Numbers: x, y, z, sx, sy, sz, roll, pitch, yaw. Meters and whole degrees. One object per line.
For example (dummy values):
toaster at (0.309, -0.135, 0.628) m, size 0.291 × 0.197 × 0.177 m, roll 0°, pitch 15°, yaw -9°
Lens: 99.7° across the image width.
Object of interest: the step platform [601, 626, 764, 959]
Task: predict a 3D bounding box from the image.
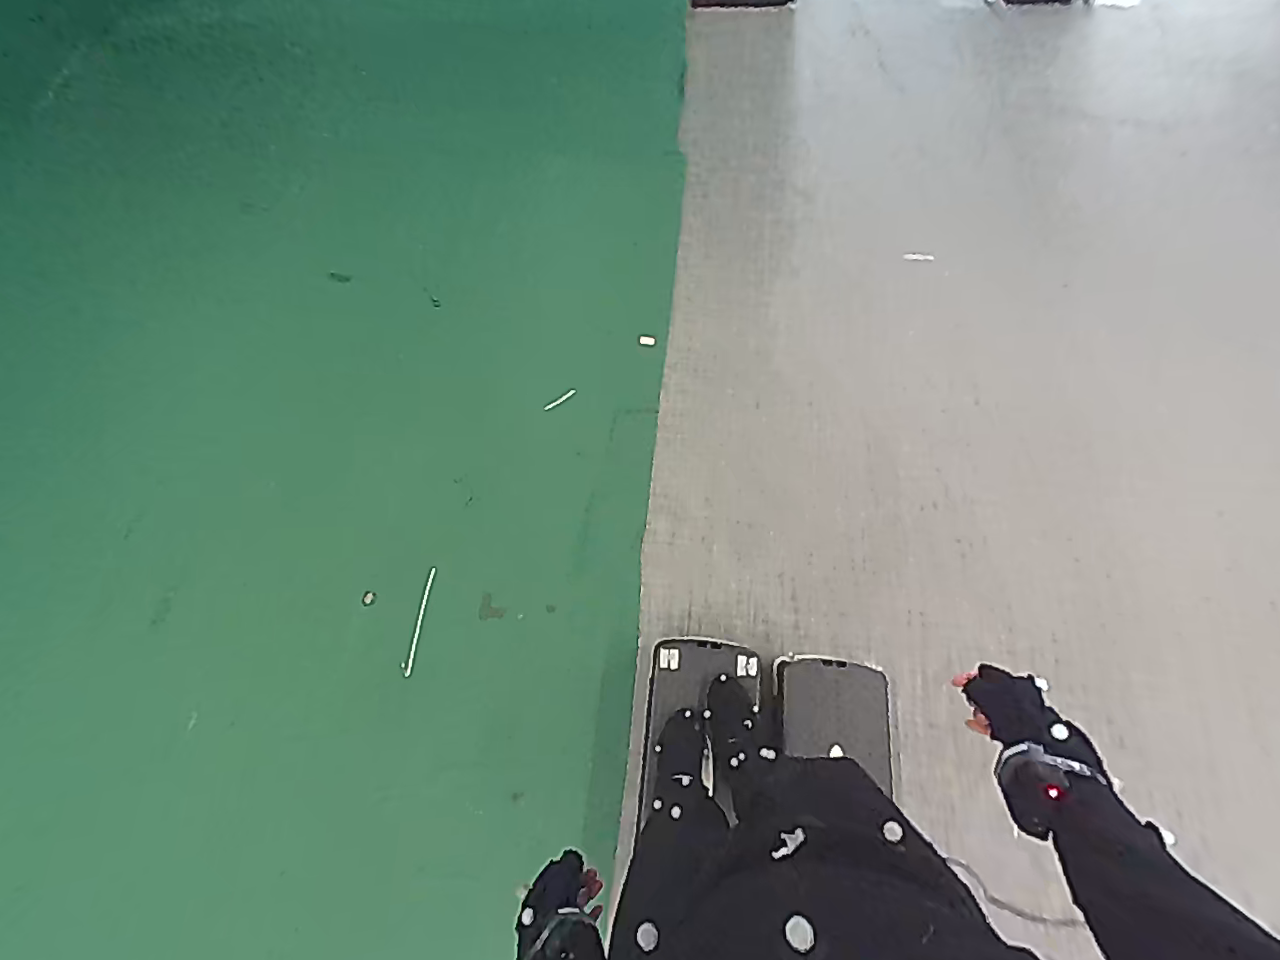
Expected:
step platform at (0.099, 0.670, 1.148) m, size 0.286 × 0.204 × 0.684 m, roll 5°, pitch 71°, yaw 4°
